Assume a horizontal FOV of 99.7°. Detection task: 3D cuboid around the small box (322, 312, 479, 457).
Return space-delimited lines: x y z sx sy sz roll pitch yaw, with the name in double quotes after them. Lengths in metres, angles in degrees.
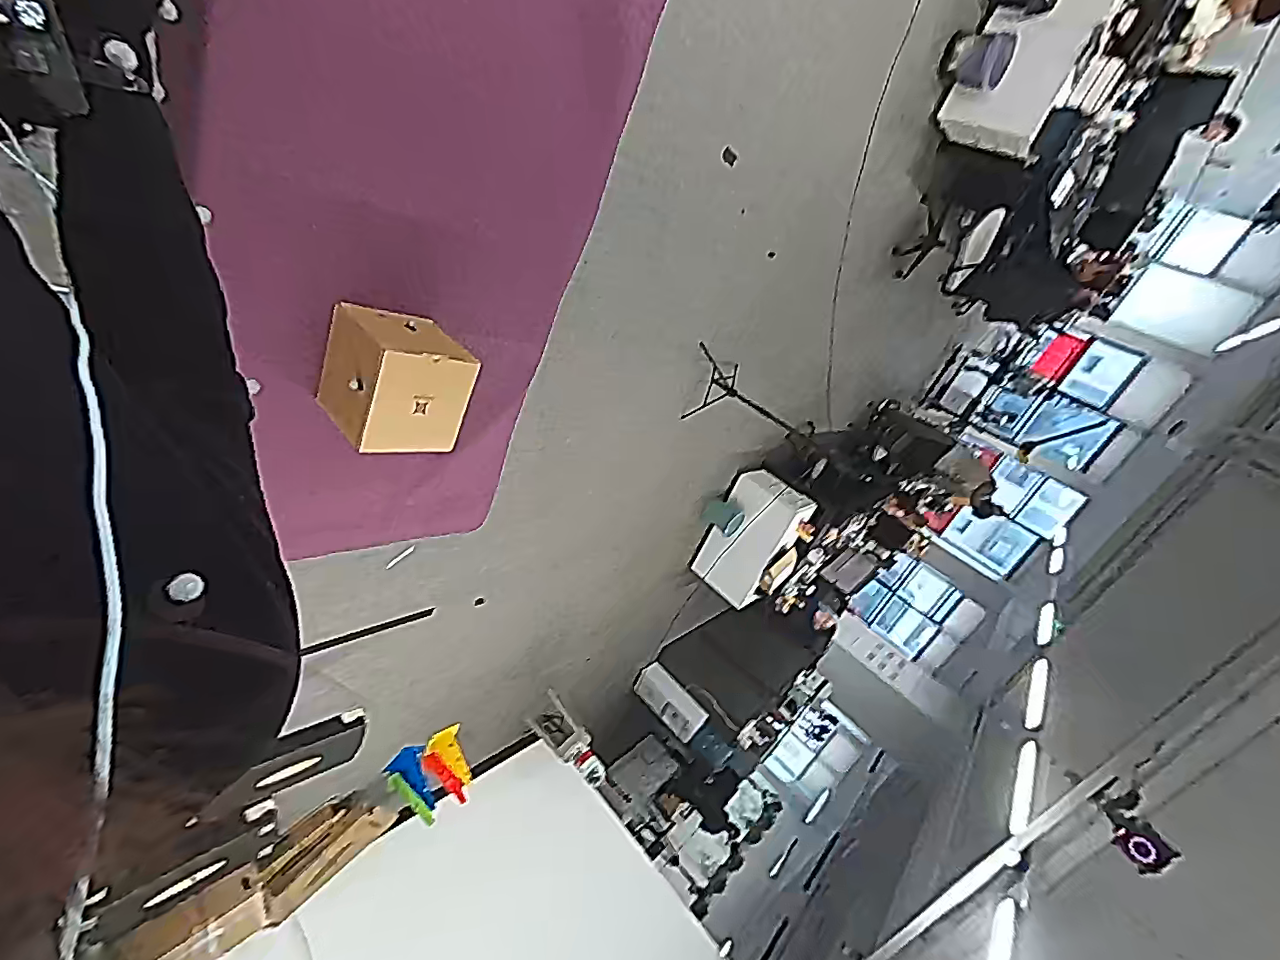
-0.405 -0.155 0.902 0.168 0.176 0.179 -5 127 -53 "small box"
